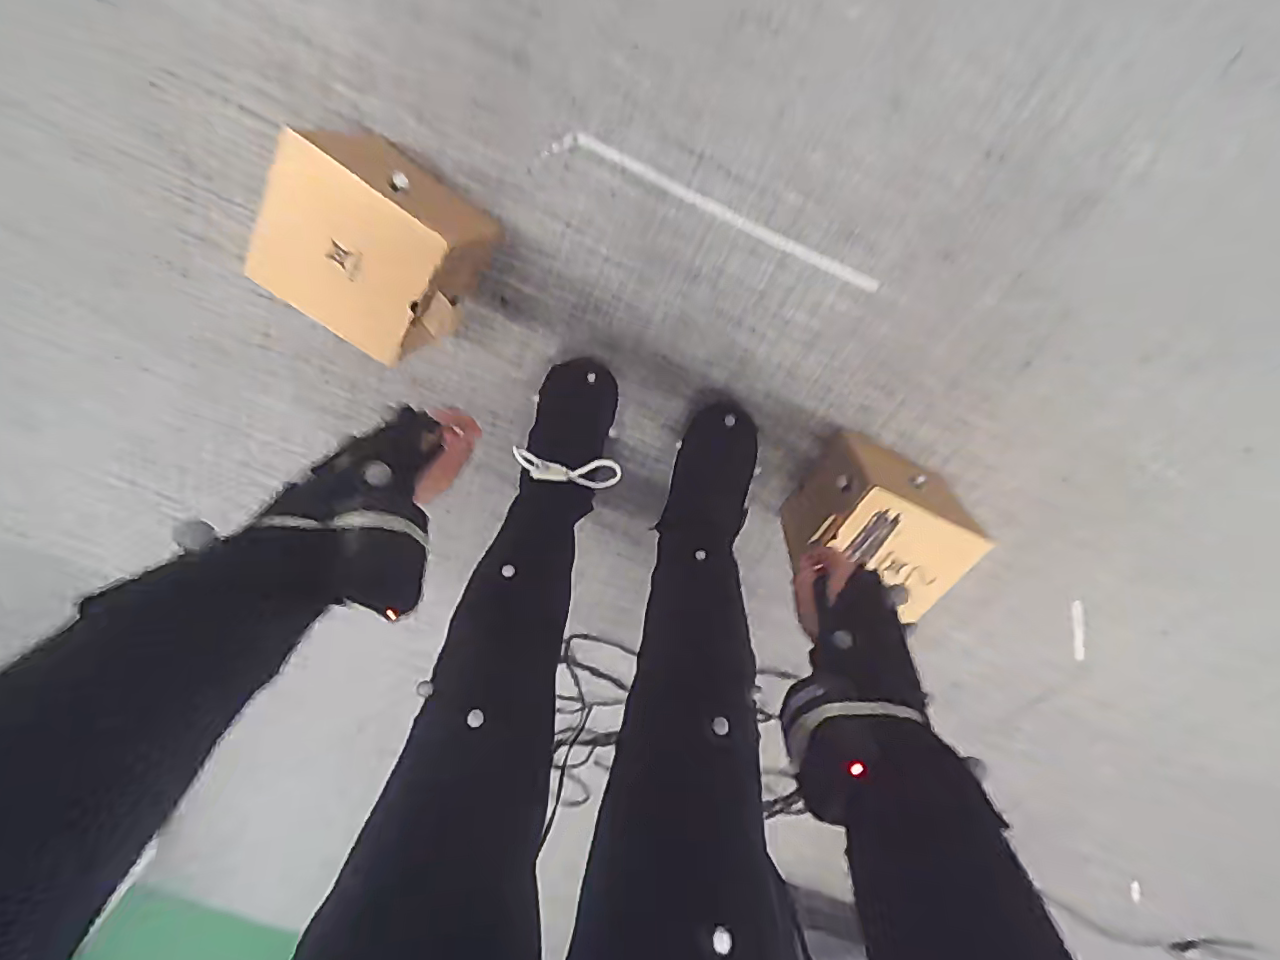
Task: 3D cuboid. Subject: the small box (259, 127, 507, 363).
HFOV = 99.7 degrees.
[{"bbox_3d":[-0.287,-0.270,0.634,0.179,0.176,0.168,34,117,-13],"label":"small box"}]
